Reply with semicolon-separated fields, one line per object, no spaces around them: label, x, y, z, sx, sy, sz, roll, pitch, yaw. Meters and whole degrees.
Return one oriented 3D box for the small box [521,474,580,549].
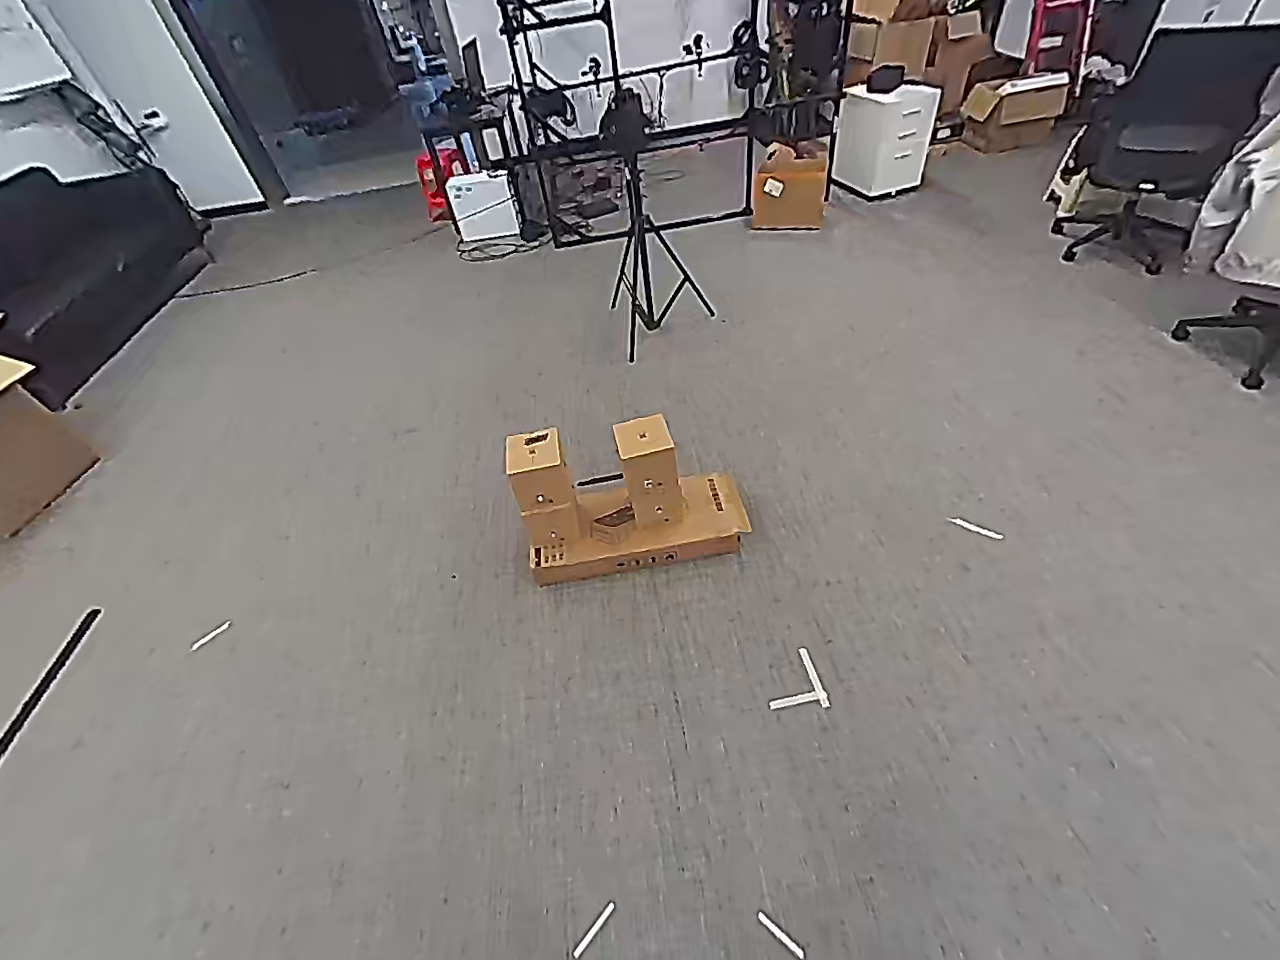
small box;-0.299;0.106;1.818;0.168;0.176;0.179;-10;44;-2

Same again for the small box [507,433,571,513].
small box;-0.320;-0.021;1.716;0.168;0.176;0.179;-11;44;-3

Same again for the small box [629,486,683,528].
small box;0.046;0.045;1.831;0.168;0.176;0.179;-12;45;-1

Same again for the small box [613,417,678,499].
small box;0.017;-0.069;1.716;0.168;0.176;0.179;-14;45;-4
